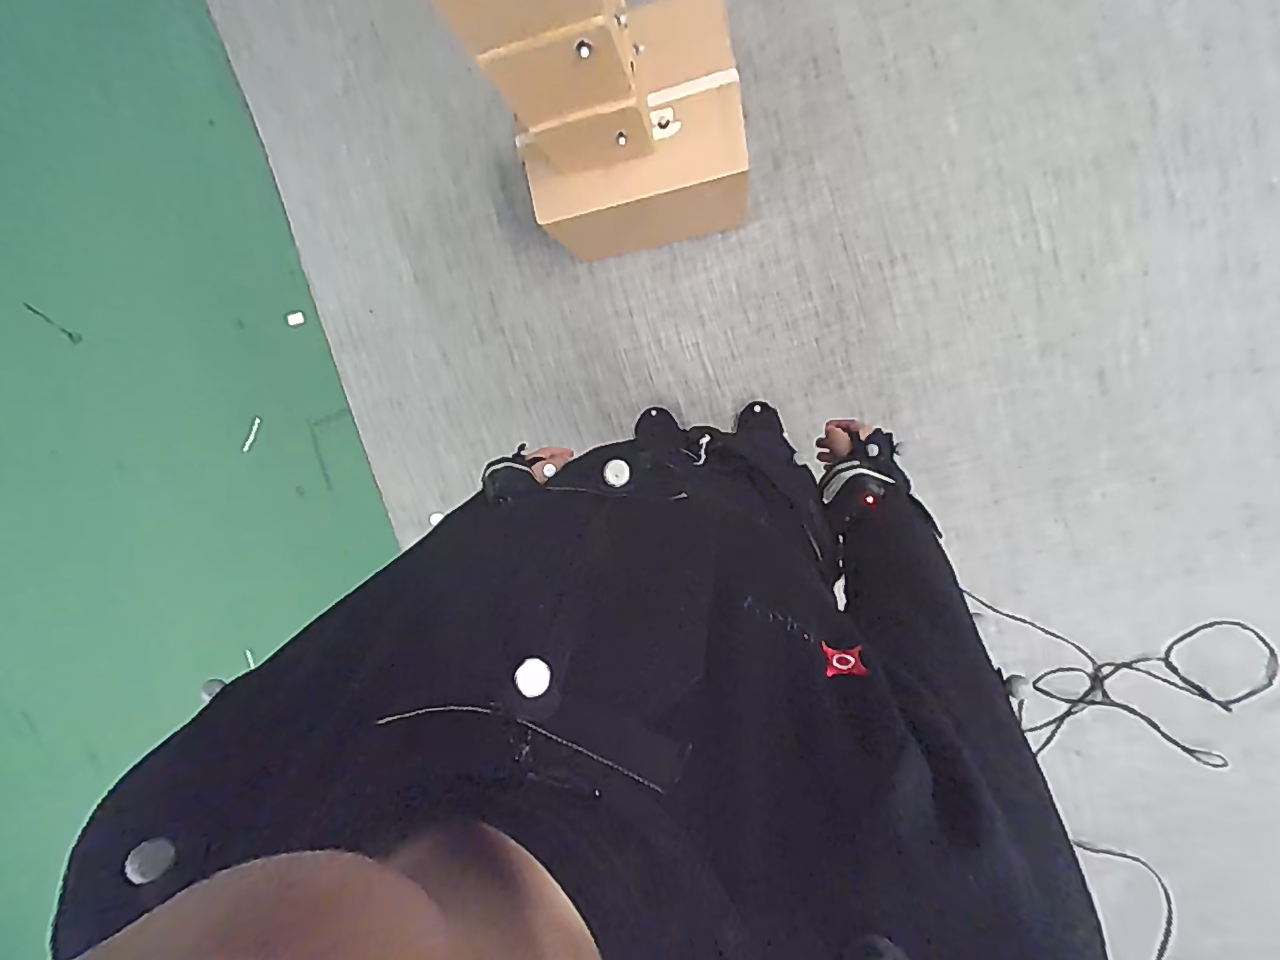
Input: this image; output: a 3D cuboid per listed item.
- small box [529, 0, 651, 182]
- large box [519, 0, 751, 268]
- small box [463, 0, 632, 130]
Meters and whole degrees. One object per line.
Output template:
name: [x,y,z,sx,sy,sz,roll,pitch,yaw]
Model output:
small box: [-0.083,-0.624,0.890,0.179,0.176,0.168,-8,96,12]
large box: [-0.001,-0.673,1.116,0.408,0.320,0.320,-10,98,11]
small box: [-0.121,-0.614,0.731,0.179,0.176,0.168,-9,96,11]
